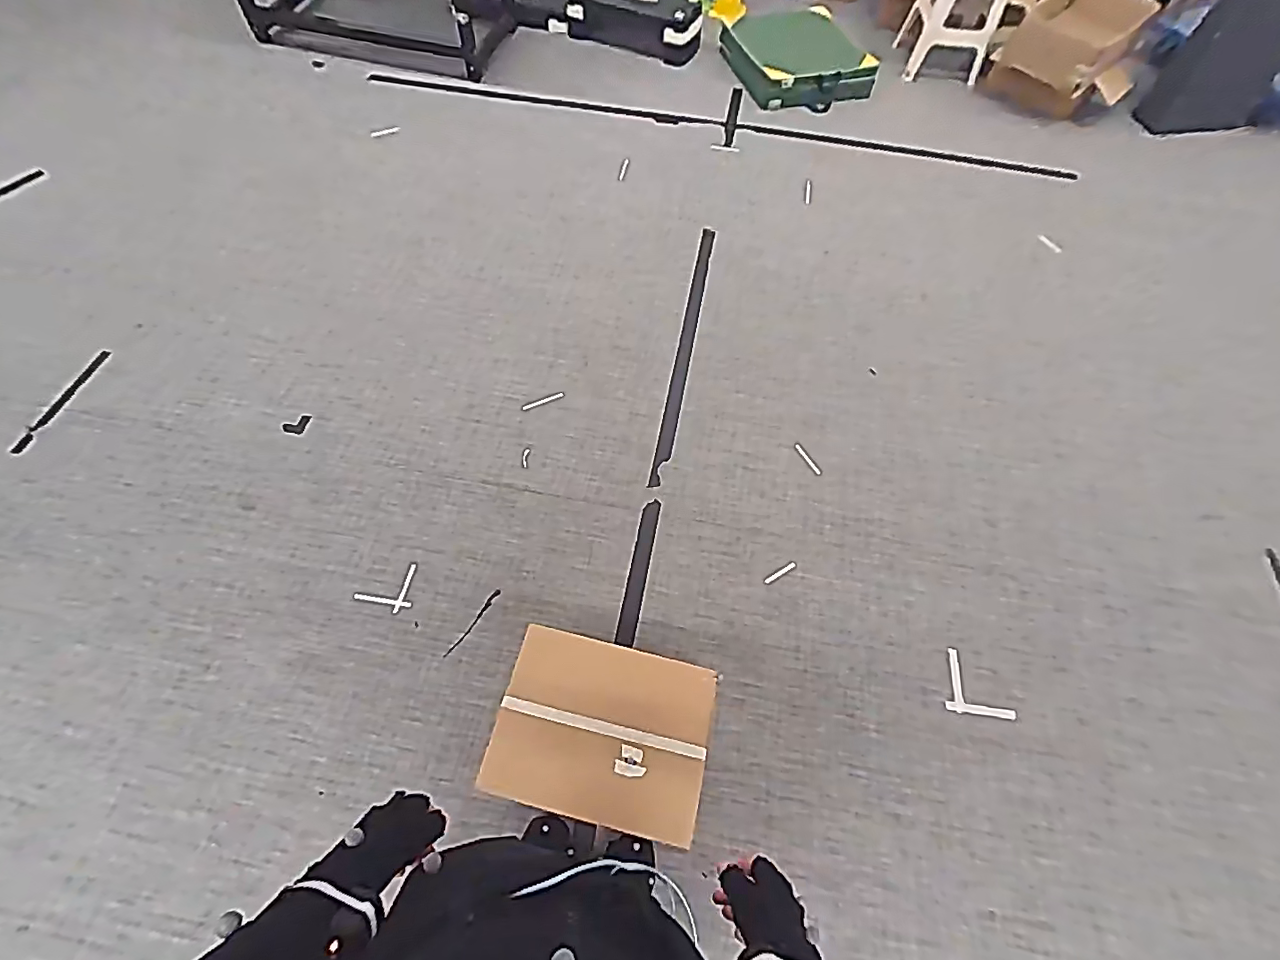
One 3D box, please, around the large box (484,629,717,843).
[{"bbox_3d":[-0.077,0.556,1.186,0.408,0.320,0.320,13,62,3],"label":"large box"}]
